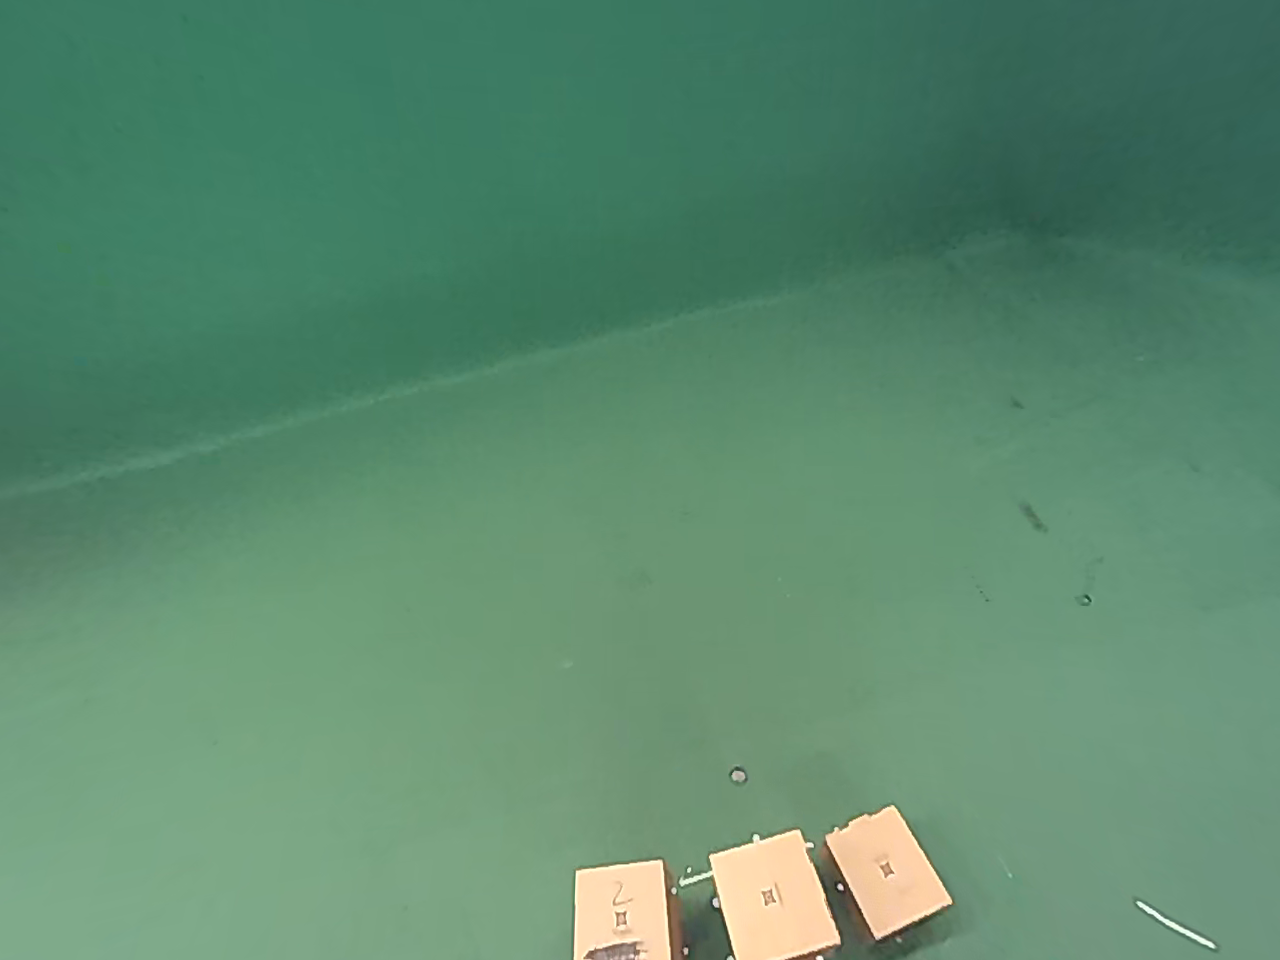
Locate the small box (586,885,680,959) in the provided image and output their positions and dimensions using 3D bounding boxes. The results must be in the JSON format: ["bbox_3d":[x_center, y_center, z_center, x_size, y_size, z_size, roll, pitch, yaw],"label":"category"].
[{"bbox_3d":[-0.010,0.934,1.079,0.168,0.176,0.179,-8,45,5],"label":"small box"}]

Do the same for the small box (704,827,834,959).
[{"bbox_3d":[0.226,0.761,0.973,0.179,0.176,0.168,-14,44,-4],"label":"small box"}]

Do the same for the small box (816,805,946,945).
[{"bbox_3d":[0.478,0.810,1.109,0.168,0.176,0.179,-18,45,-7],"label":"small box"}]
